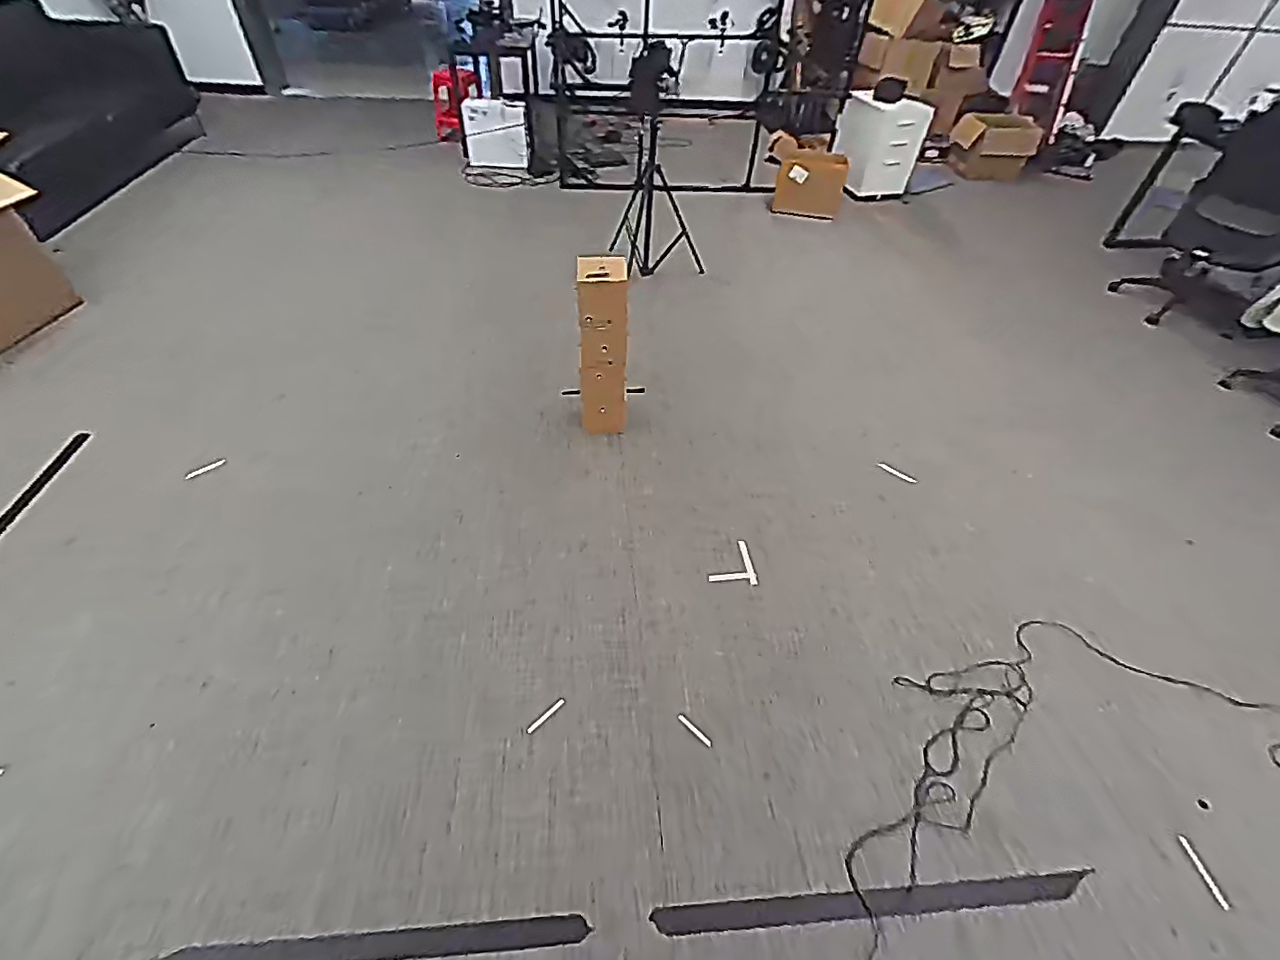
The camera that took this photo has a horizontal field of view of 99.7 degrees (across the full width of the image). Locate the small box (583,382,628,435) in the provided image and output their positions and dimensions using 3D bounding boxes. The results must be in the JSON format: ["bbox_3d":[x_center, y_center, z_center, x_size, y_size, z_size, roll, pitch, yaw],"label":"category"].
[{"bbox_3d":[-0.145,-0.299,2.208,0.179,0.176,0.168,-2,47,-5],"label":"small box"}]

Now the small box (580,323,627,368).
[{"bbox_3d":[-0.130,-0.521,1.968,0.168,0.176,0.179,-1,48,-4],"label":"small box"}]

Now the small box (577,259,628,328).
[{"bbox_3d":[-0.127,-0.635,1.849,0.168,0.176,0.179,-2,46,-4],"label":"small box"}]

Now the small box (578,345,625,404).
[{"bbox_3d":[-0.145,-0.408,2.085,0.179,0.176,0.168,-1,48,-3],"label":"small box"}]
